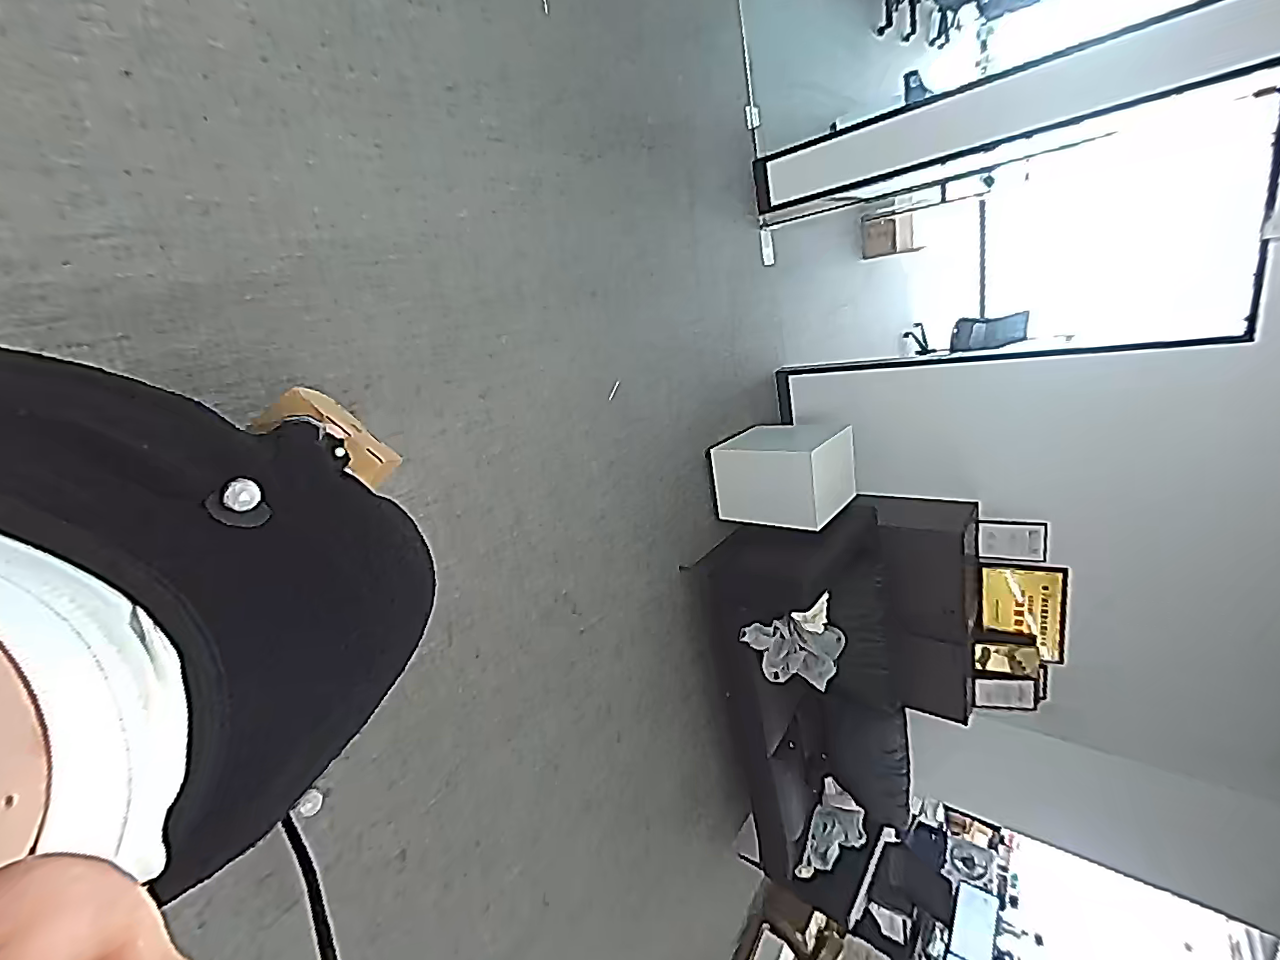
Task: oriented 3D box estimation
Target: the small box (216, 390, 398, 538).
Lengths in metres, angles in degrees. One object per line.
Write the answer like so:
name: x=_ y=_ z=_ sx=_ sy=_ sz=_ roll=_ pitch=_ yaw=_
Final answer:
small box: x=-0.528 y=-0.024 z=0.873 sx=0.168 sy=0.179 sz=0.176 roll=42 pitch=83 yaw=-15
